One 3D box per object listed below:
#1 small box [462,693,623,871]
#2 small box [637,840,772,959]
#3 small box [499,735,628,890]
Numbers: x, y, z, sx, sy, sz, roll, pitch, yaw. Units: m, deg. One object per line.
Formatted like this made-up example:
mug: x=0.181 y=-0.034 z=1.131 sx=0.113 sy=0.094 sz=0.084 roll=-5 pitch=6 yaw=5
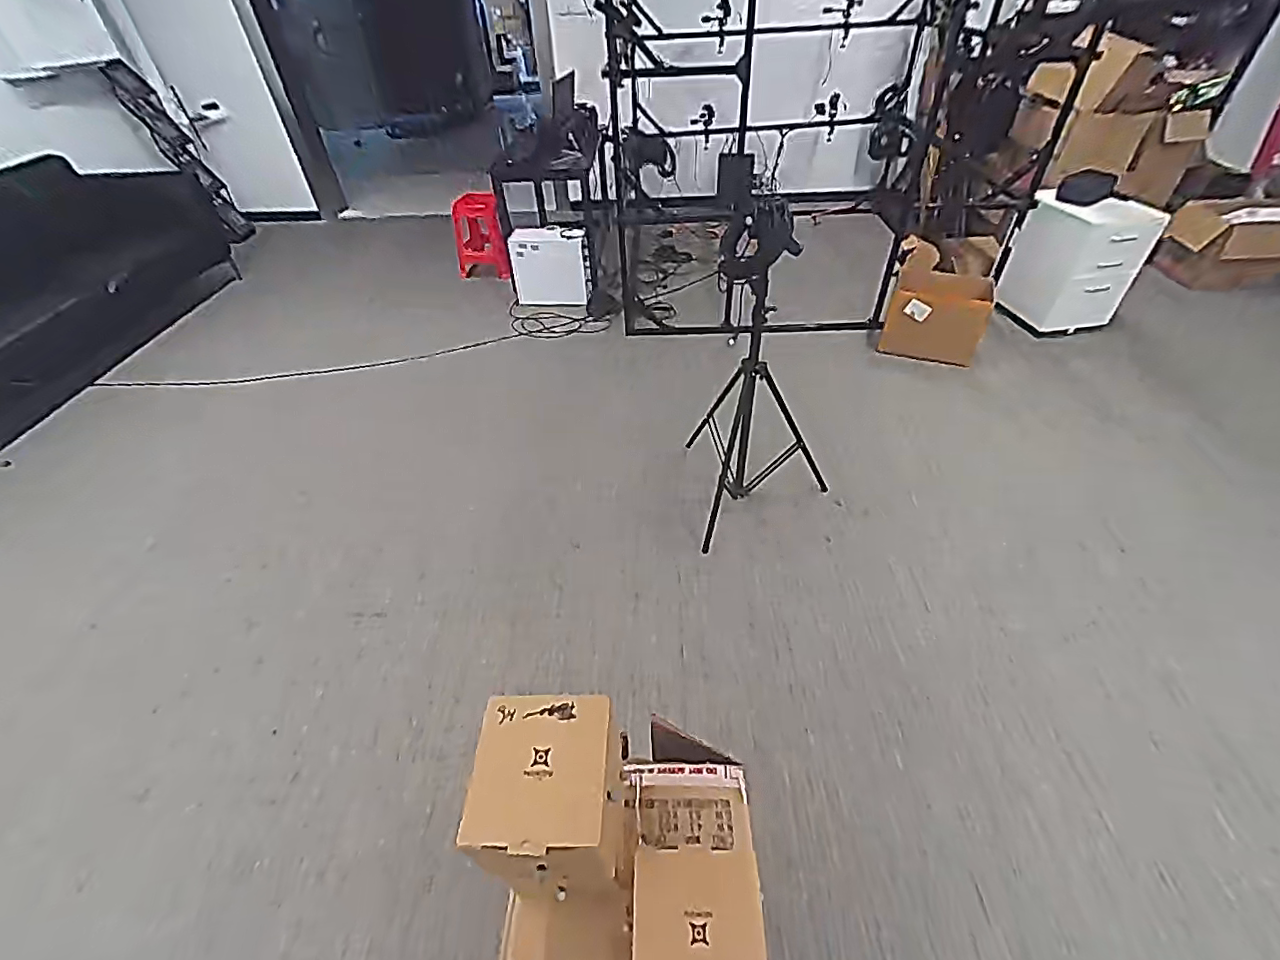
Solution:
small box: x=-0.114 y=0.404 z=0.721 sx=0.168 sy=0.176 sz=0.179 roll=-2 pitch=45 yaw=4
small box: x=0.082 y=0.611 z=0.734 sx=0.168 sy=0.176 sz=0.179 roll=-2 pitch=45 yaw=3
small box: x=-0.108 y=0.515 z=0.843 sx=0.168 sy=0.176 sz=0.179 roll=-3 pitch=45 yaw=3
